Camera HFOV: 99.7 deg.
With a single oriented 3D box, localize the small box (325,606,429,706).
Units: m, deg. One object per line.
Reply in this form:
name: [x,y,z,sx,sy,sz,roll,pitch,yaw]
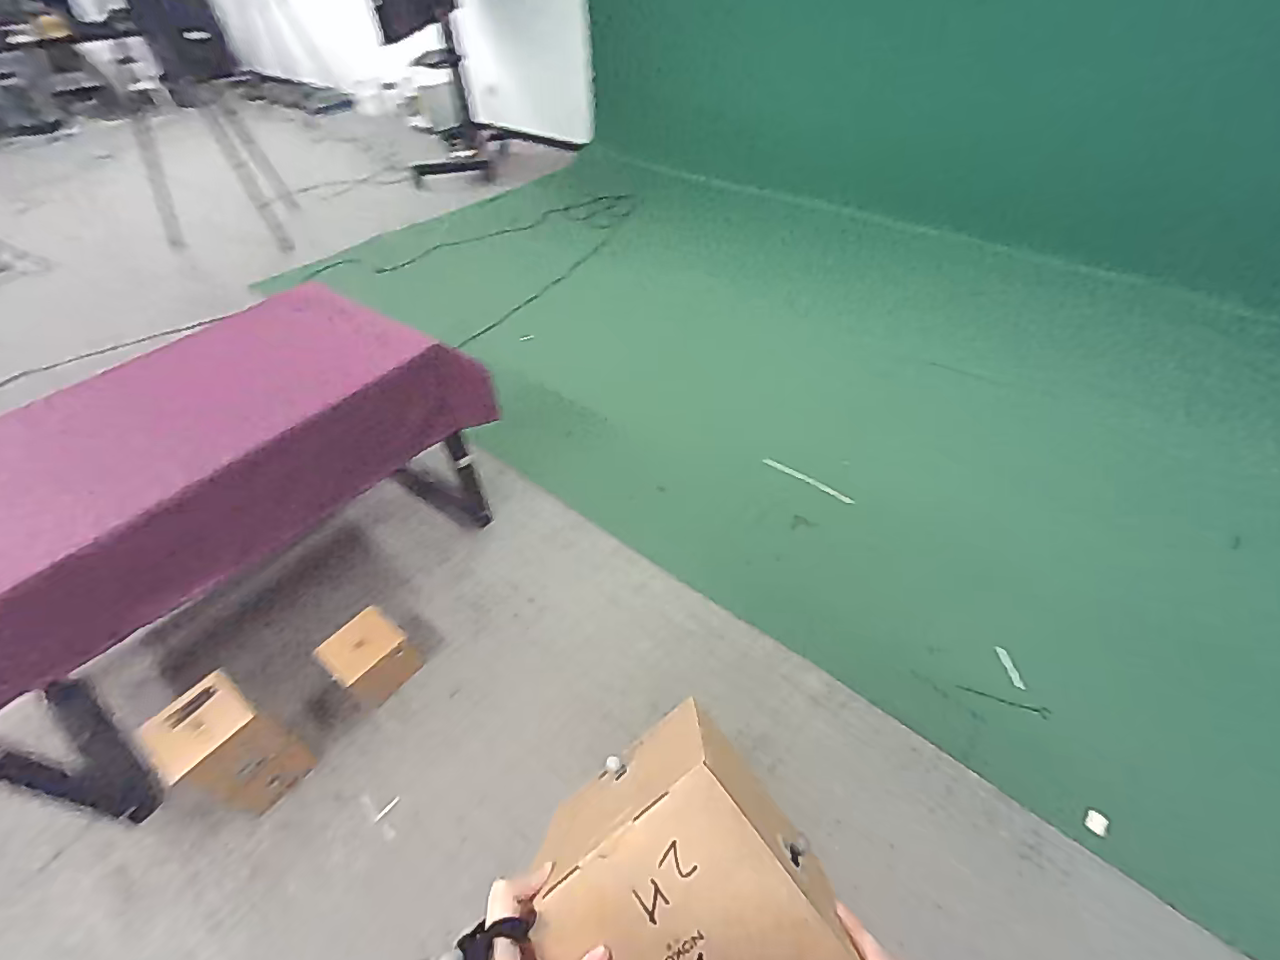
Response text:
small box: [-0.731,0.498,1.522,0.168,0.176,0.179,29,54,26]
